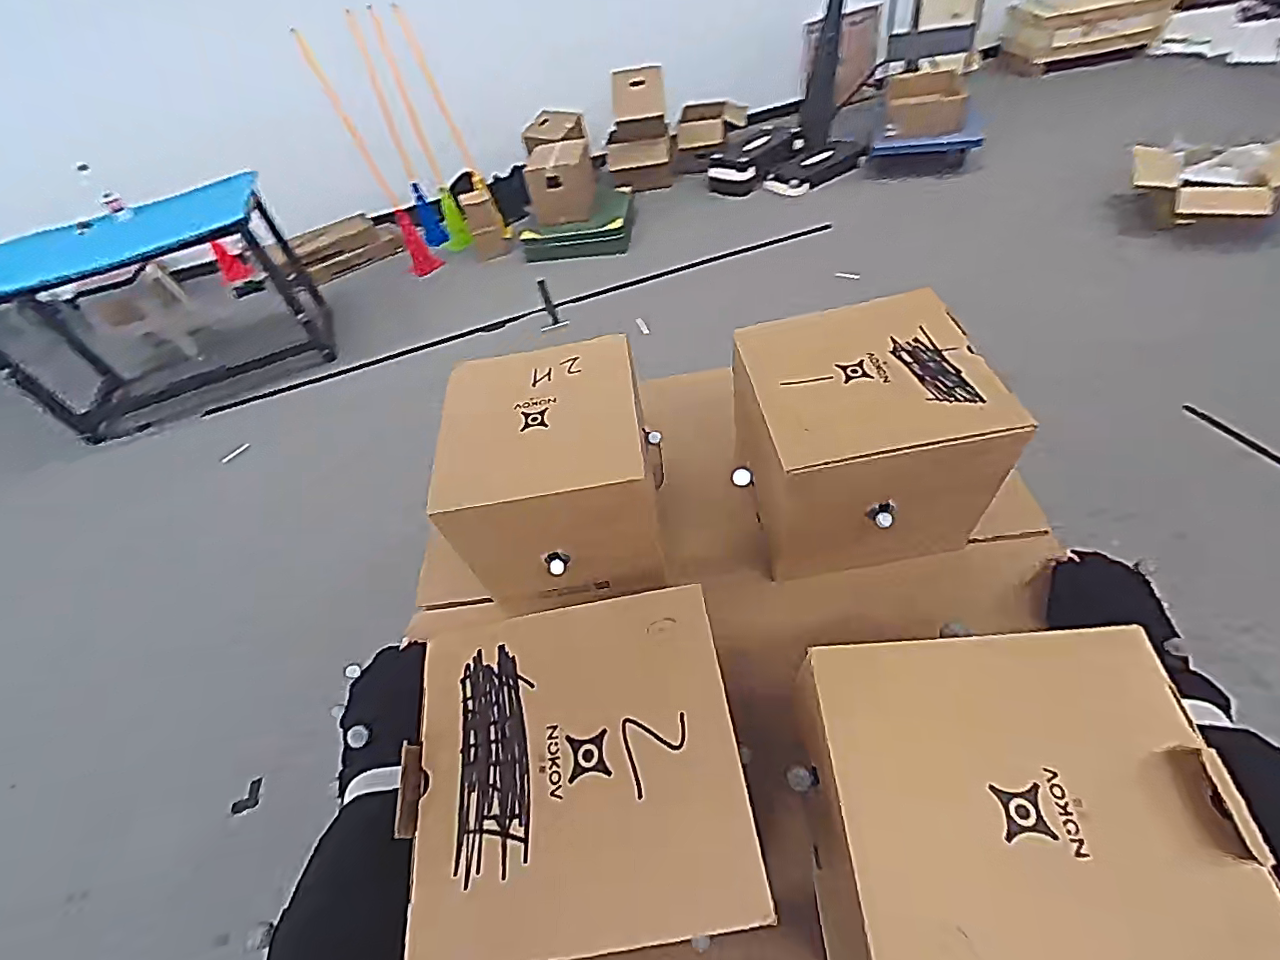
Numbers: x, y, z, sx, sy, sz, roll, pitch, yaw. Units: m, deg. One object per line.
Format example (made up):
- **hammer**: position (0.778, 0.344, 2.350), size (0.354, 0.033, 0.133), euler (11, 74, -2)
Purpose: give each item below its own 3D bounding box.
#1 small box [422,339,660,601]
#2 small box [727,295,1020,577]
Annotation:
- **small box**: position (-0.078, 0.000, 0.508), size (0.168, 0.176, 0.179), euler (-9, 51, 3)
- **small box**: position (0.180, -0.032, 0.483), size (0.179, 0.176, 0.168), euler (-11, 52, 3)
